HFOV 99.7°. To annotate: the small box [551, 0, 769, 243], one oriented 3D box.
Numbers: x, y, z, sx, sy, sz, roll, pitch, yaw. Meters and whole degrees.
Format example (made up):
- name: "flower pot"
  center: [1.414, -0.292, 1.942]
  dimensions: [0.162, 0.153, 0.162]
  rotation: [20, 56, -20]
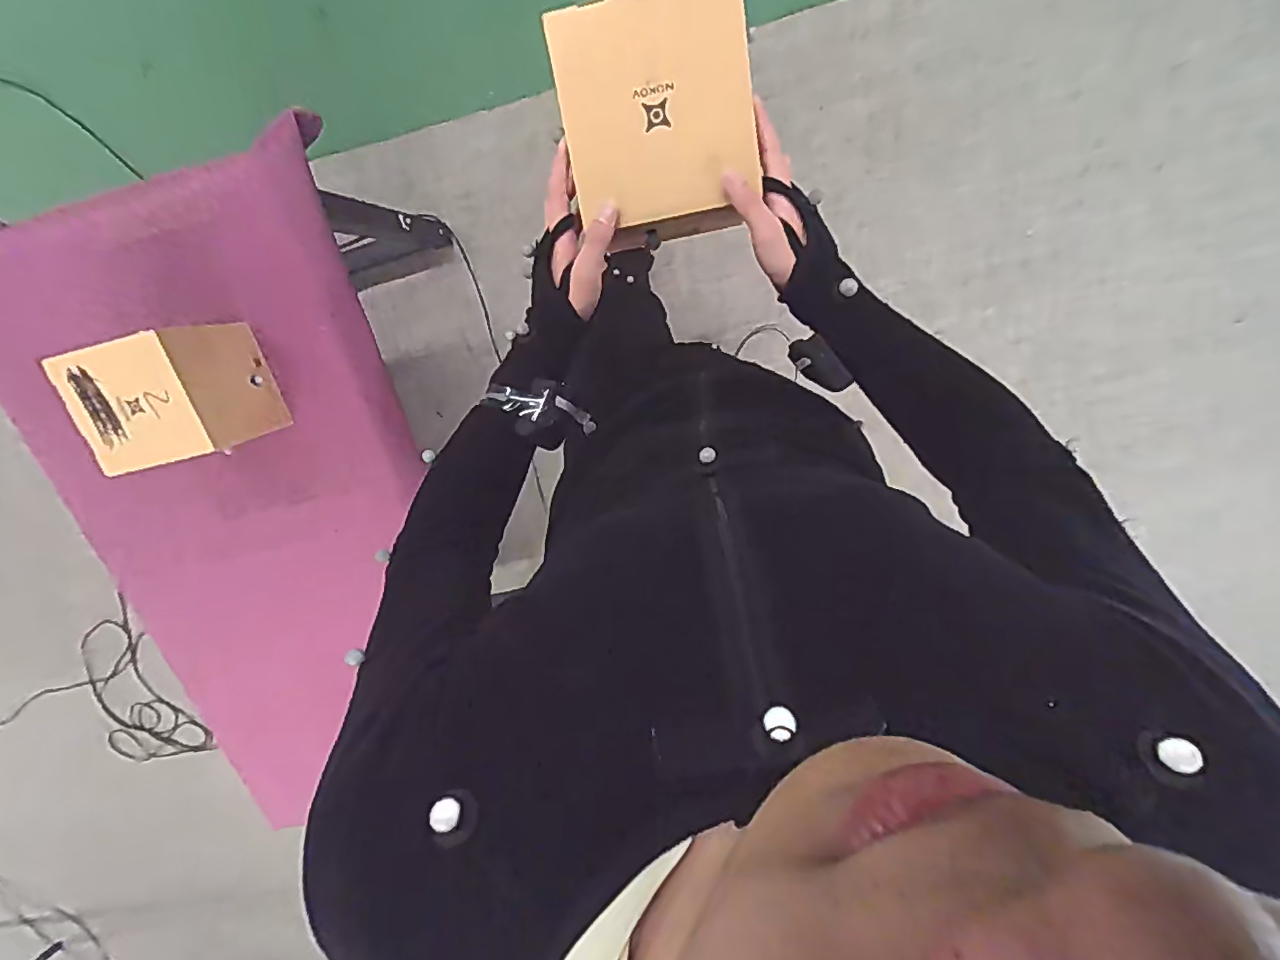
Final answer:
- name: "small box"
  center: [0.027, -0.343, 0.535]
  dimensions: [0.168, 0.176, 0.179]
  rotation: [-9, 106, 7]
